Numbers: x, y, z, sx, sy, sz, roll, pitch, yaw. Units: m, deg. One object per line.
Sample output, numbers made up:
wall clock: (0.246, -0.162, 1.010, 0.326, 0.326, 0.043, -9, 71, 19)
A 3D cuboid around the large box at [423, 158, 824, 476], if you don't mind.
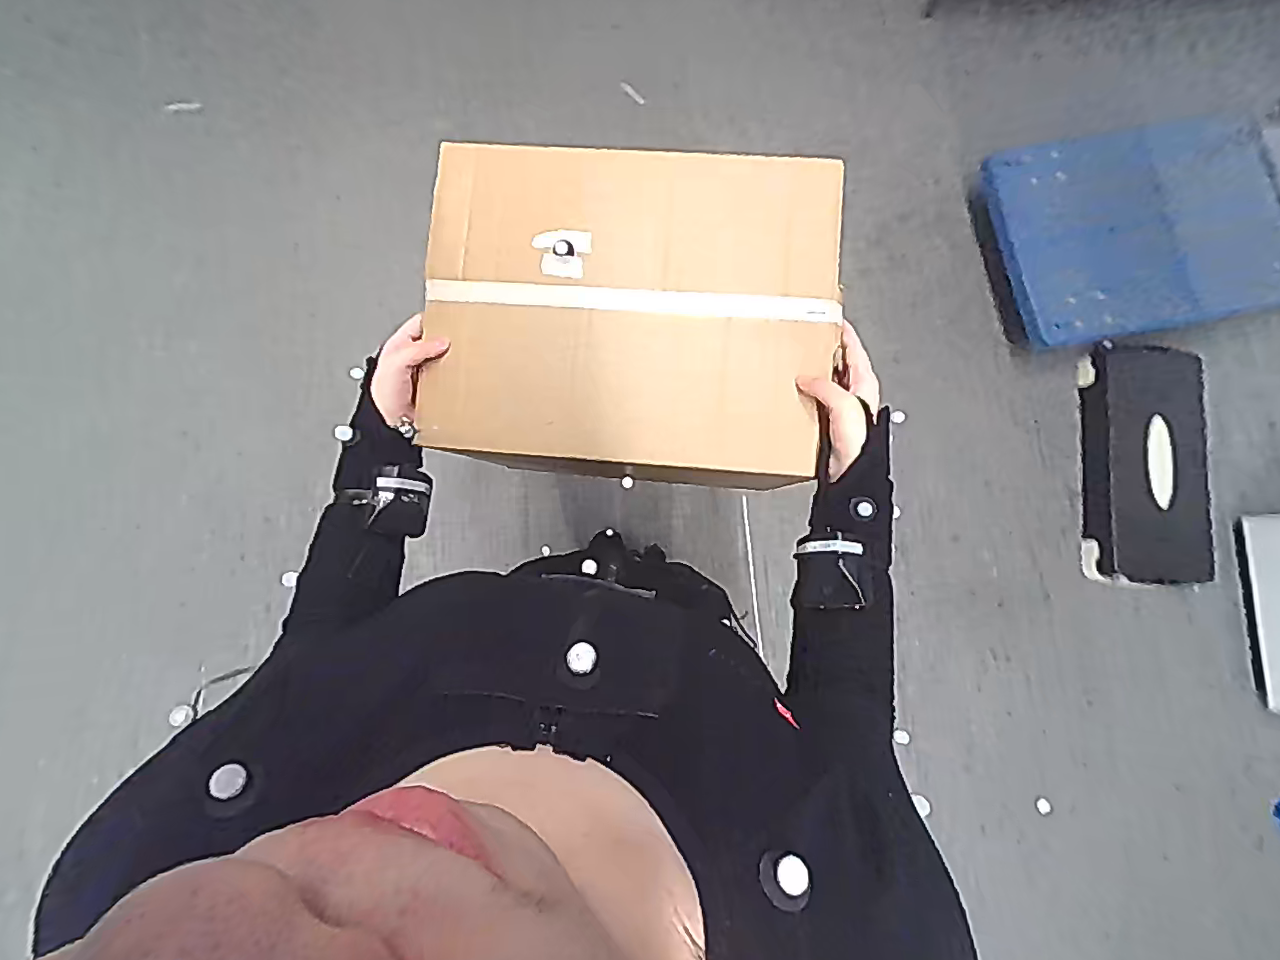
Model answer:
large box: (-0.007, -0.169, 0.693, 0.408, 0.320, 0.320, 3, 87, 5)
